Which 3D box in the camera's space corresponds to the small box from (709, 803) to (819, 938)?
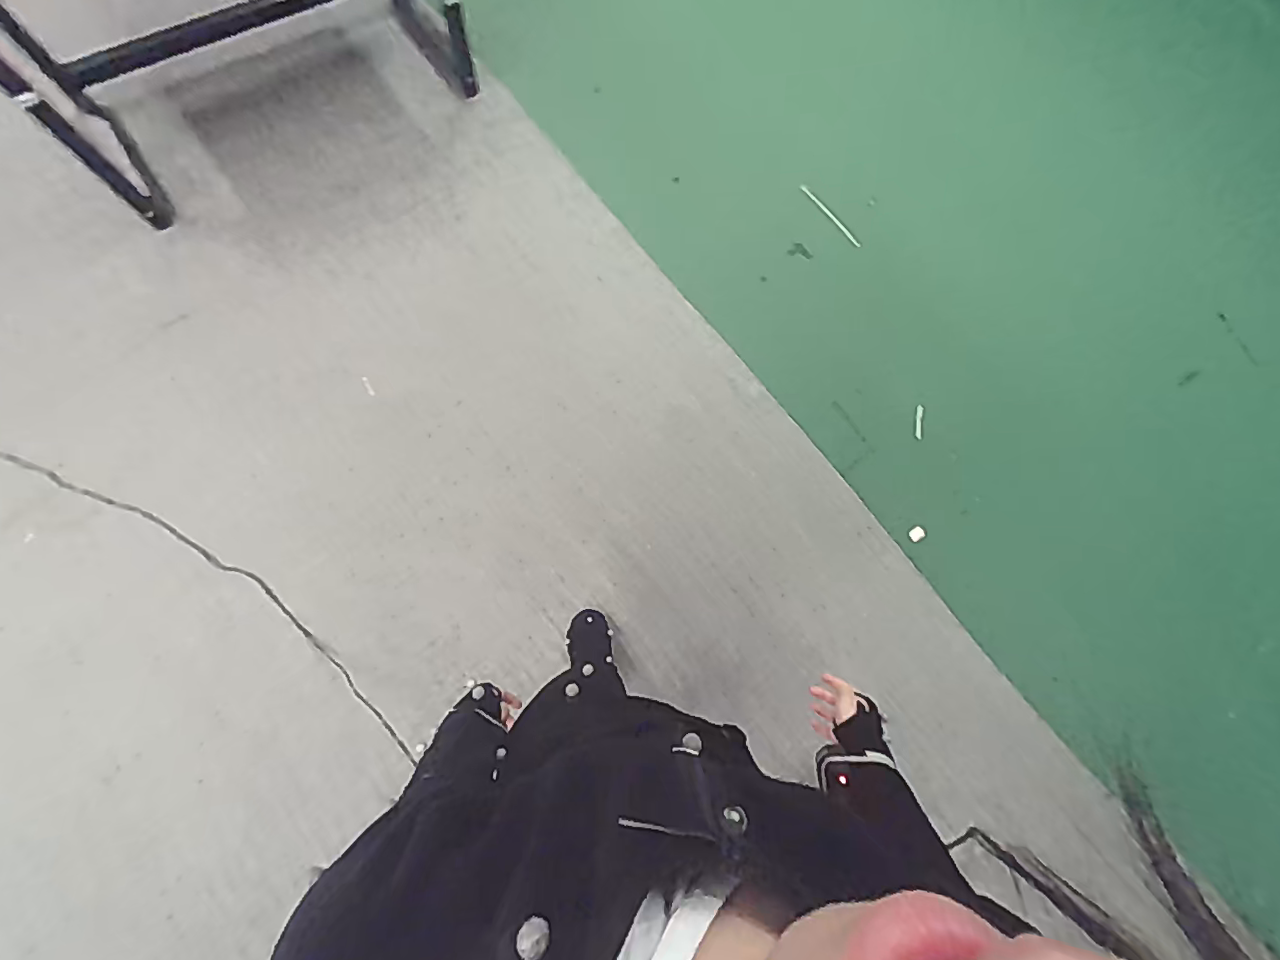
[{"bbox_3d":[0.288,0.918,1.294,0.168,0.176,0.179,-30,78,-13],"label":"small box"}]
